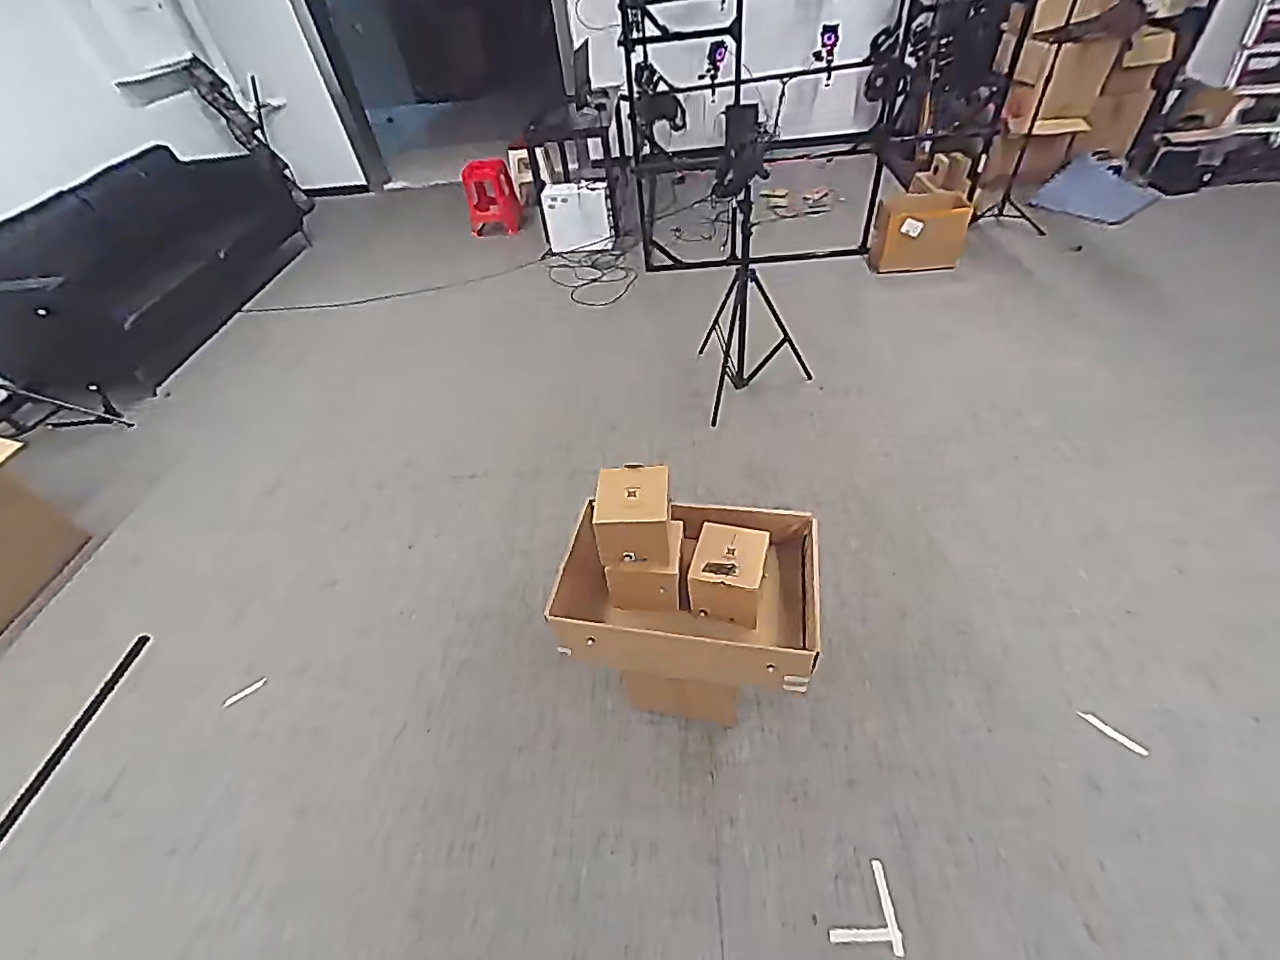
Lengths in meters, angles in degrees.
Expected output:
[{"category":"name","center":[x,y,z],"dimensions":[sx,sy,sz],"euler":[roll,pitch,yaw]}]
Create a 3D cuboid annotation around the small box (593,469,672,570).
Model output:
[{"category":"small box","center":[-0.011,0.093,1.282],"dimensions":[0.168,0.176,0.179],"euler":[-2,45,6]}]
